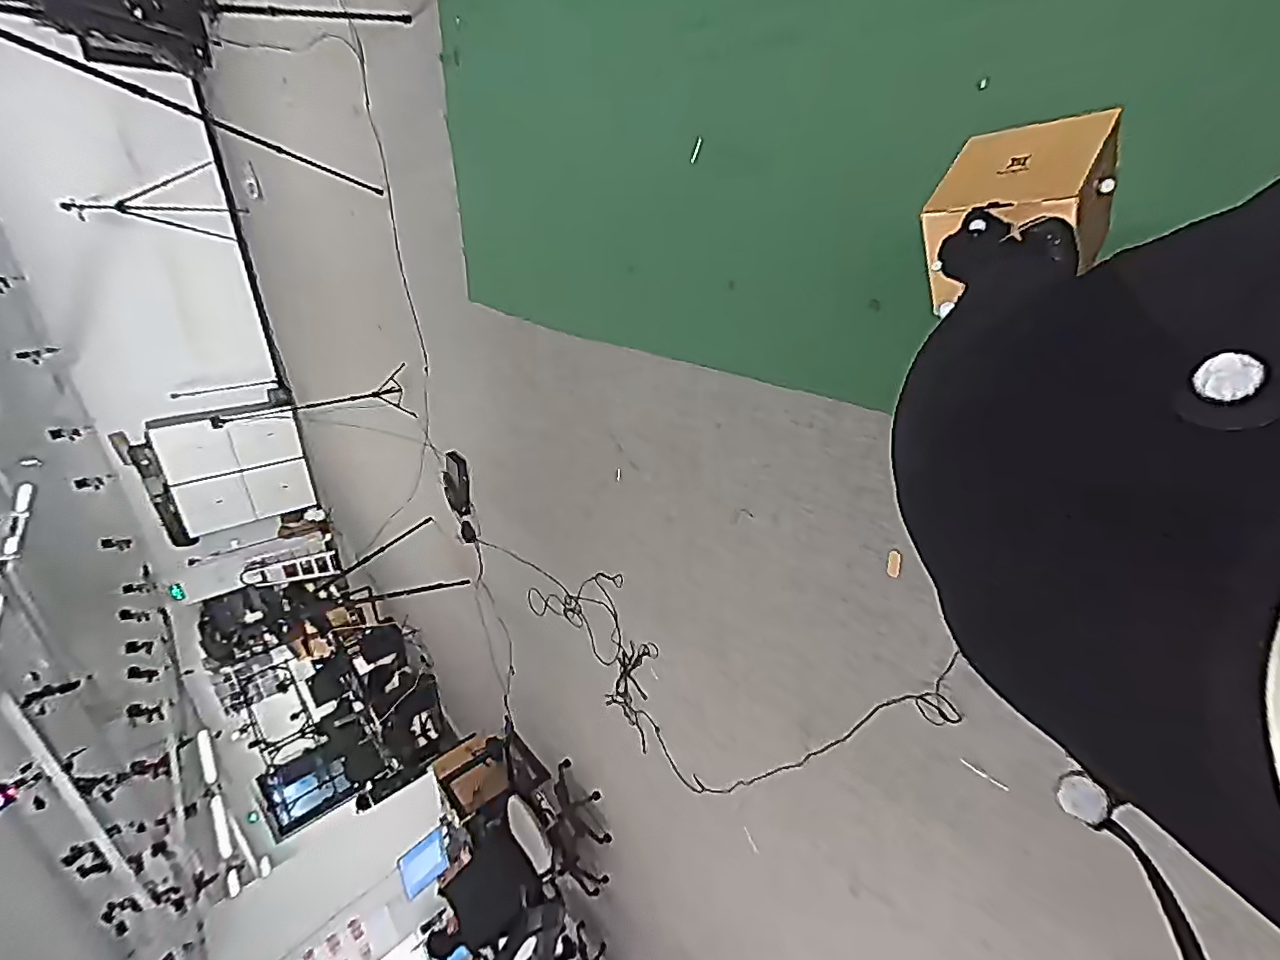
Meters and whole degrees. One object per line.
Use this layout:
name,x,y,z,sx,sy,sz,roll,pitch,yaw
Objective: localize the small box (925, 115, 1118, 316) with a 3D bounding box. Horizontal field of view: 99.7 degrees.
small box,0.514,-0.349,0.738,0.168,0.179,0.176,17,154,44
